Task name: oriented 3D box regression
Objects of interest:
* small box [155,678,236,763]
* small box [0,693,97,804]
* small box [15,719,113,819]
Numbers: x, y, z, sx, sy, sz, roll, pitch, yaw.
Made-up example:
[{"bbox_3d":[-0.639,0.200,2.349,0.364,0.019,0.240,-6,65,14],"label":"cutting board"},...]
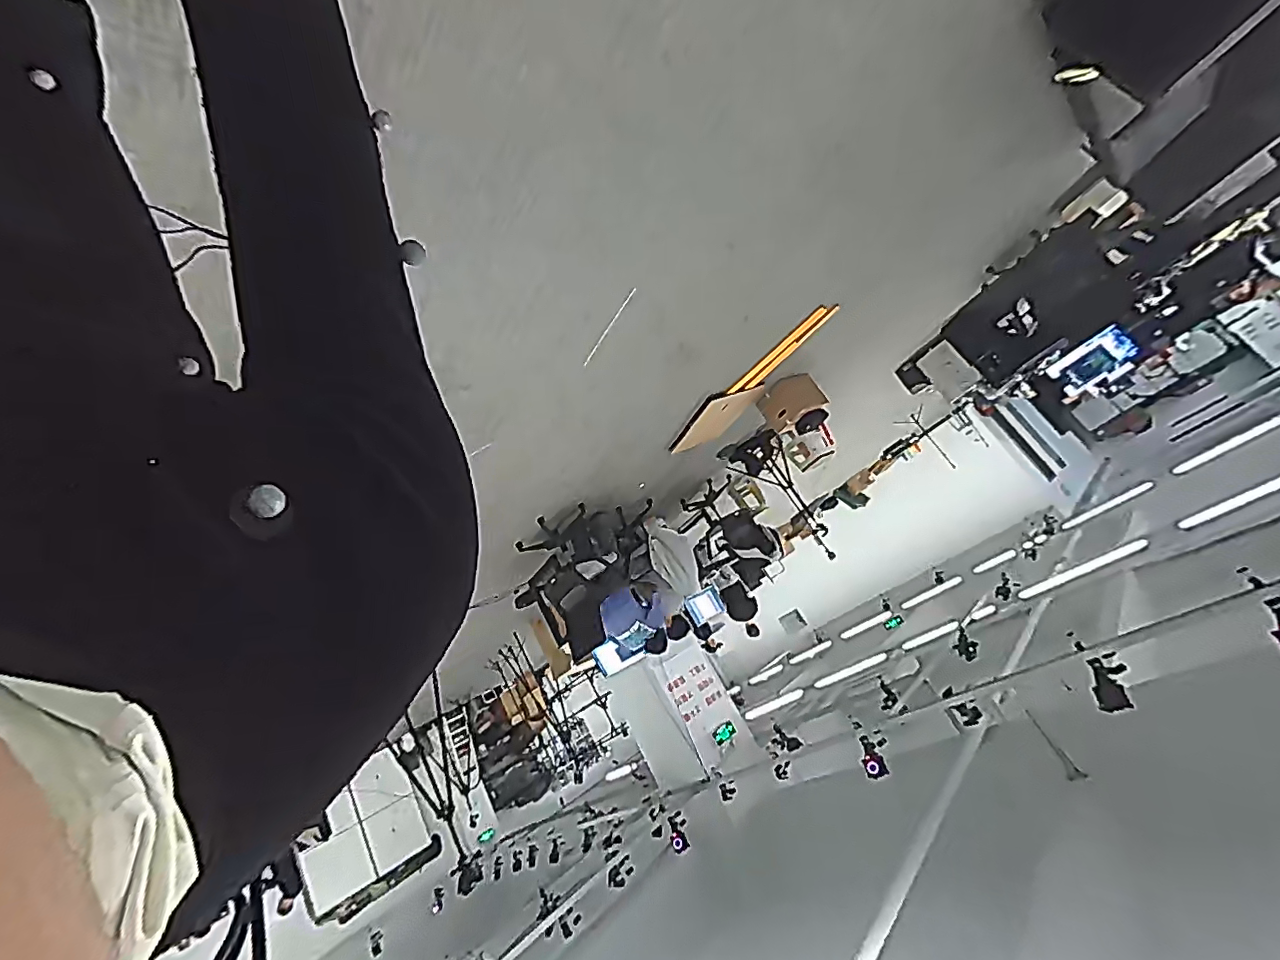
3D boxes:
[{"bbox_3d":[-1.384,0.742,1.683,0.168,0.176,0.179,-13,156,-45],"label":"small box"},{"bbox_3d":[-1.446,0.640,1.302,0.168,0.176,0.179,-13,156,-45],"label":"small box"},{"bbox_3d":[-1.578,0.785,1.479,0.168,0.176,0.179,-15,155,-45],"label":"small box"}]
